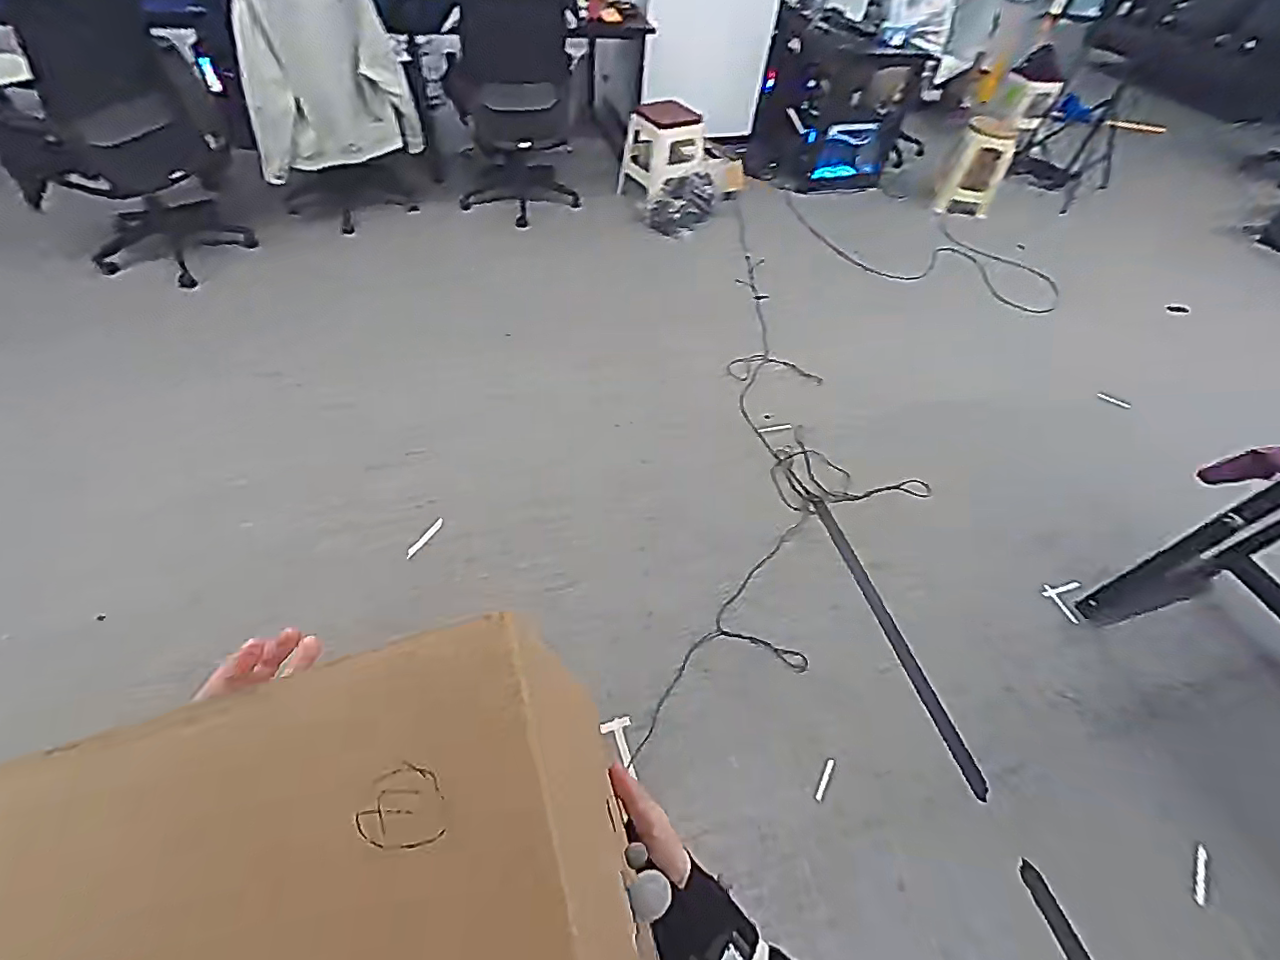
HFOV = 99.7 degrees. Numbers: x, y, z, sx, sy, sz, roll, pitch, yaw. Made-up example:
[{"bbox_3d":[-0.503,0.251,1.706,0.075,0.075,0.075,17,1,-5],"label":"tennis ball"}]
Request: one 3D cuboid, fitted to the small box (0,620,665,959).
[{"bbox_3d":[-0.084,0.166,0.171,0.179,0.176,0.168,-16,63,-8],"label":"small box"}]
